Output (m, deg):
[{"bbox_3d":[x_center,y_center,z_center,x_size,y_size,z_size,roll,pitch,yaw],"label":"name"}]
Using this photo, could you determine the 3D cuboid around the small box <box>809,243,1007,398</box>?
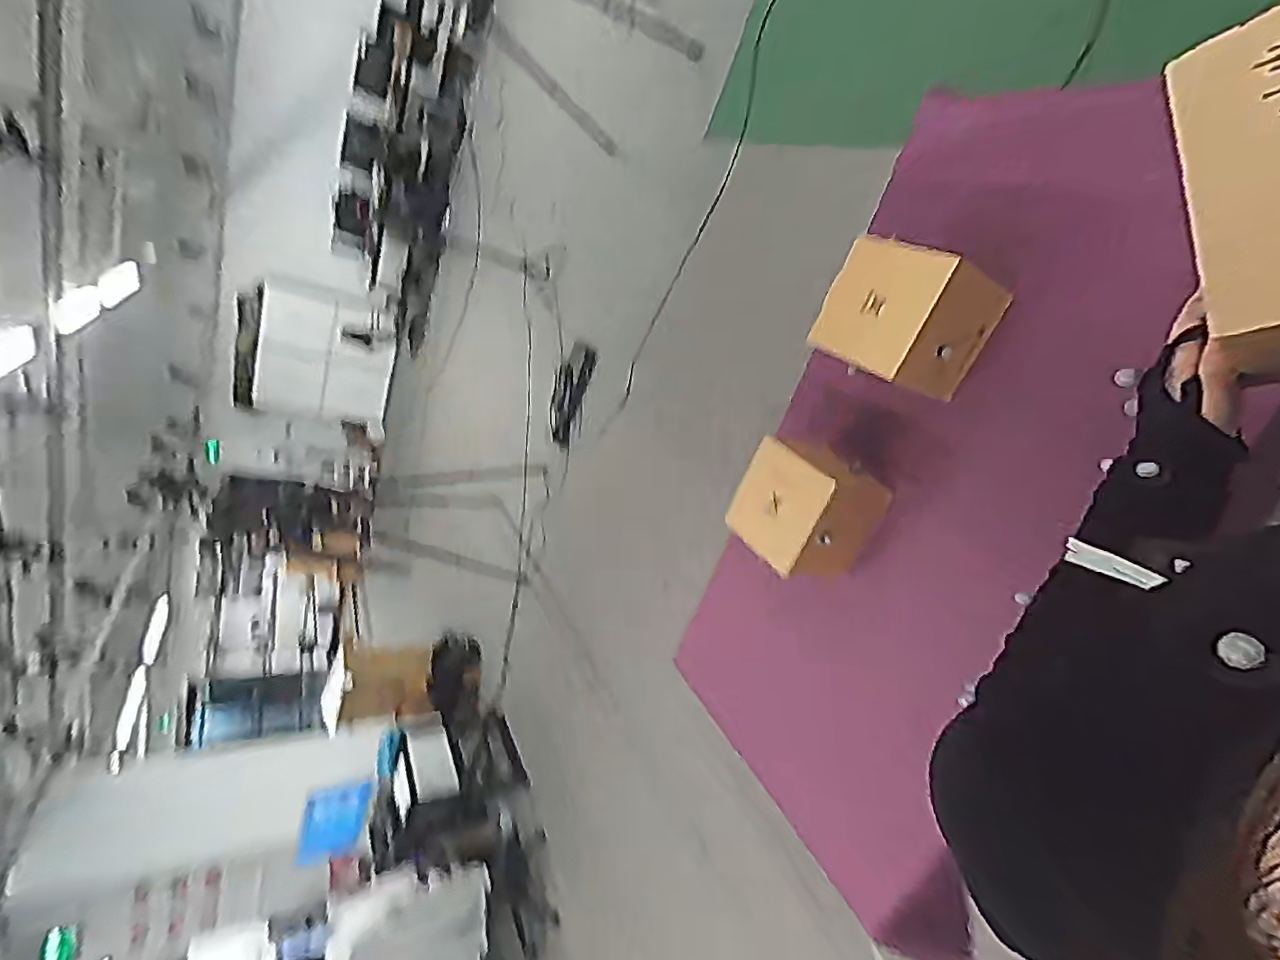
[{"bbox_3d":[0.402,-0.235,0.818,0.179,0.176,0.168,48,123,49],"label":"small box"}]

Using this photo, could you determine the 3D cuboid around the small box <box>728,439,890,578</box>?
[{"bbox_3d":[0.289,0.053,0.928,0.168,0.176,0.179,47,121,48],"label":"small box"}]
